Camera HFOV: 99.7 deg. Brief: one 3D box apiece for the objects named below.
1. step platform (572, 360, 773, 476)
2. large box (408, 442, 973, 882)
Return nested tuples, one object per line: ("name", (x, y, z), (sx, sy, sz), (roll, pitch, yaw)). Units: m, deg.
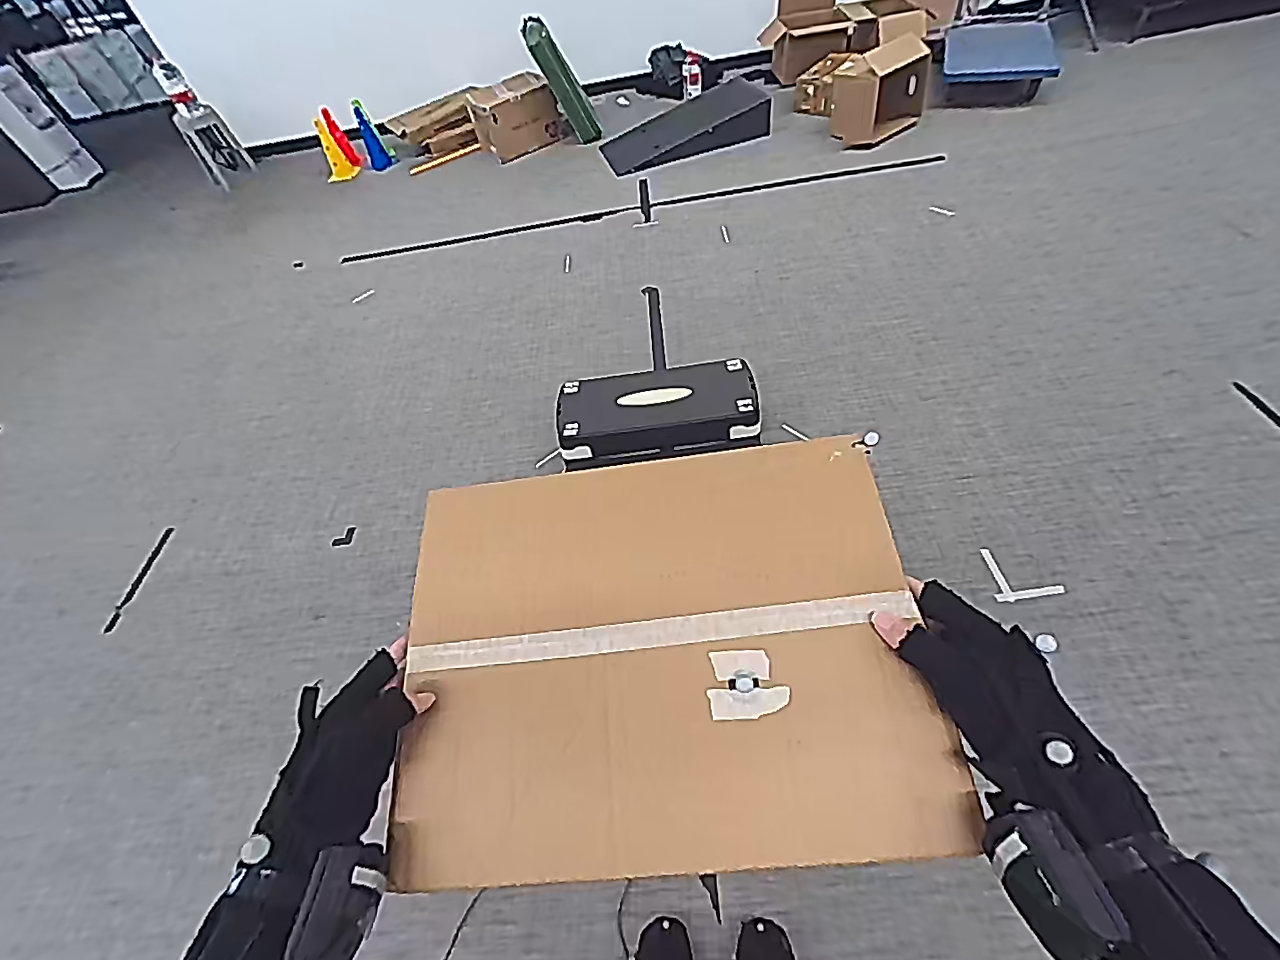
("step platform", (0.107, -0.217, 1.866), (0.684, 0.204, 0.286), (-7, 52, 4))
("large box", (0.034, 0.195, 0.573), (0.408, 0.320, 0.320), (-8, 62, 5))
